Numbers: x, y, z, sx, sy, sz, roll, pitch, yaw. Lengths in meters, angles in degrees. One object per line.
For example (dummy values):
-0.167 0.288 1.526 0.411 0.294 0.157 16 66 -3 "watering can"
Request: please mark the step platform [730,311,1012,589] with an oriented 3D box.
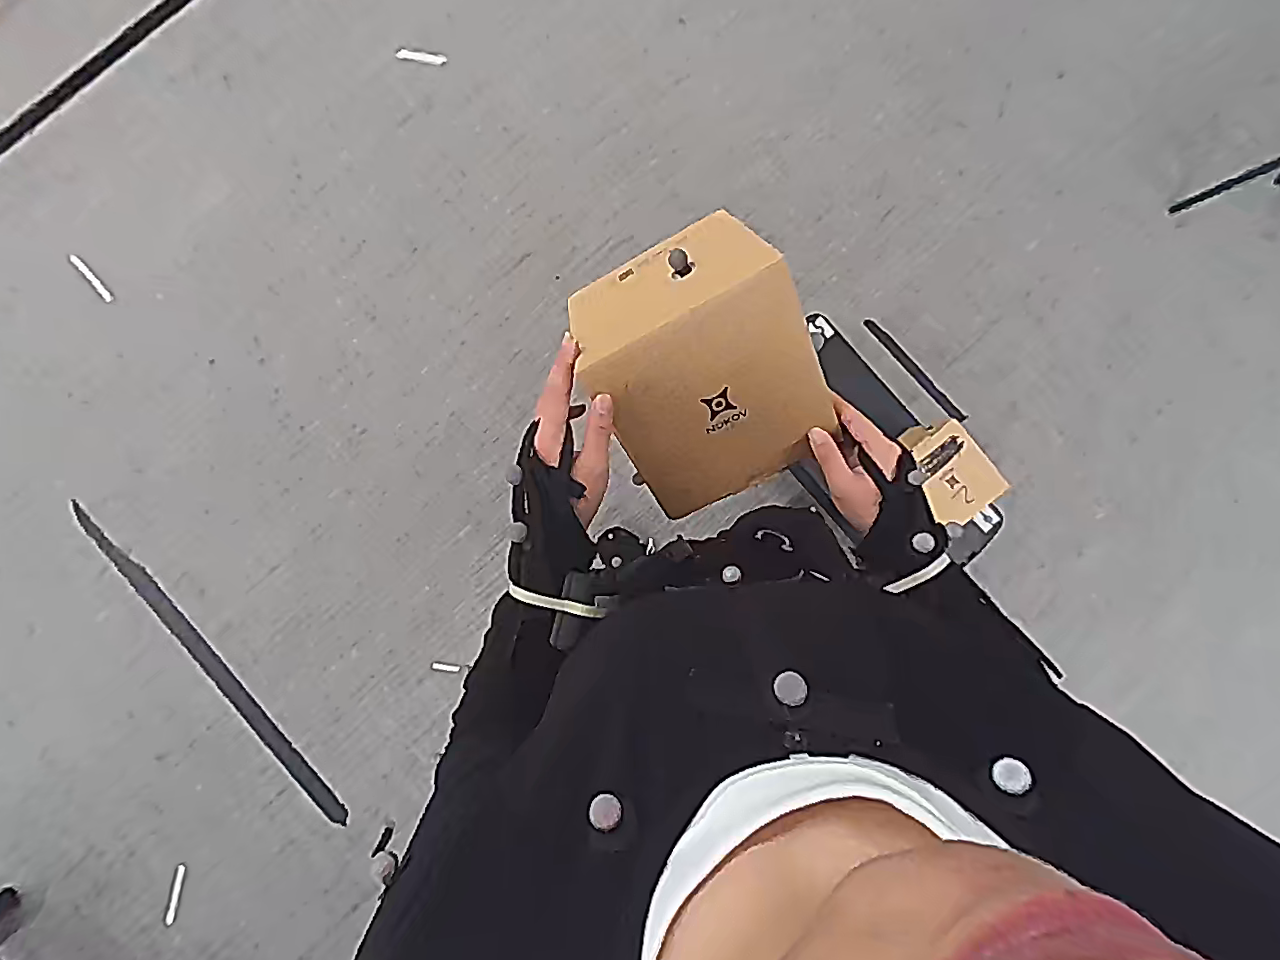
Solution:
0.537 -0.067 1.301 0.286 0.204 0.684 -42 88 -3 "step platform"
